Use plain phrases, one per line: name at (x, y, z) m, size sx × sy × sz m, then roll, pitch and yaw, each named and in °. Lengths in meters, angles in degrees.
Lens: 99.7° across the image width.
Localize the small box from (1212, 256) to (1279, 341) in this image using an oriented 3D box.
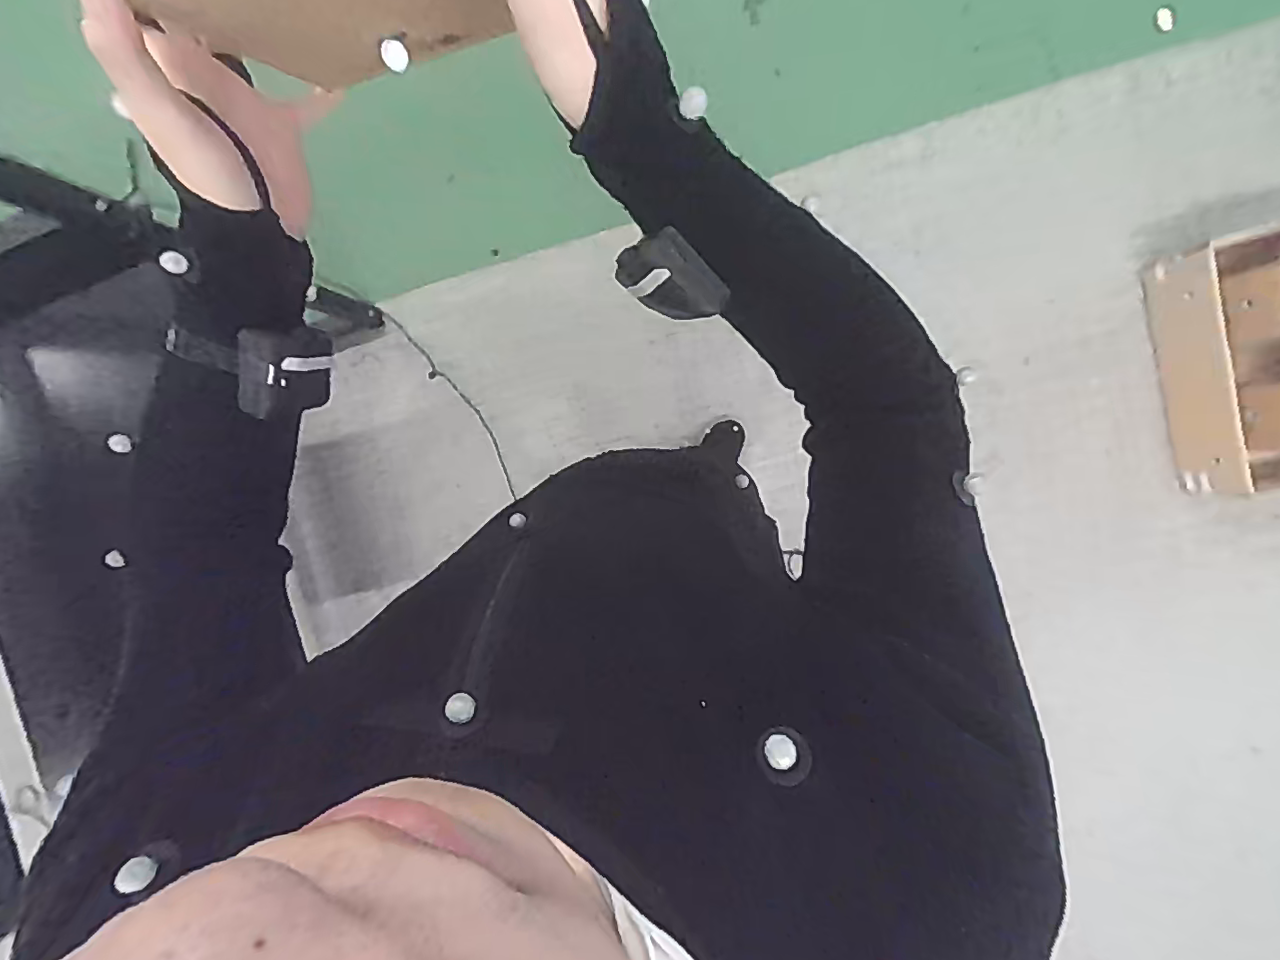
small box at (1.522, -0.440, 1.280) m, size 0.179 × 0.176 × 0.168 m, roll -13°, pitch 93°, yaw 7°

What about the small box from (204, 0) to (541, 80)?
small box at (-0.163, -0.340, 0.266) m, size 0.168 × 0.176 × 0.179 m, roll -10°, pitch 113°, yaw 9°
